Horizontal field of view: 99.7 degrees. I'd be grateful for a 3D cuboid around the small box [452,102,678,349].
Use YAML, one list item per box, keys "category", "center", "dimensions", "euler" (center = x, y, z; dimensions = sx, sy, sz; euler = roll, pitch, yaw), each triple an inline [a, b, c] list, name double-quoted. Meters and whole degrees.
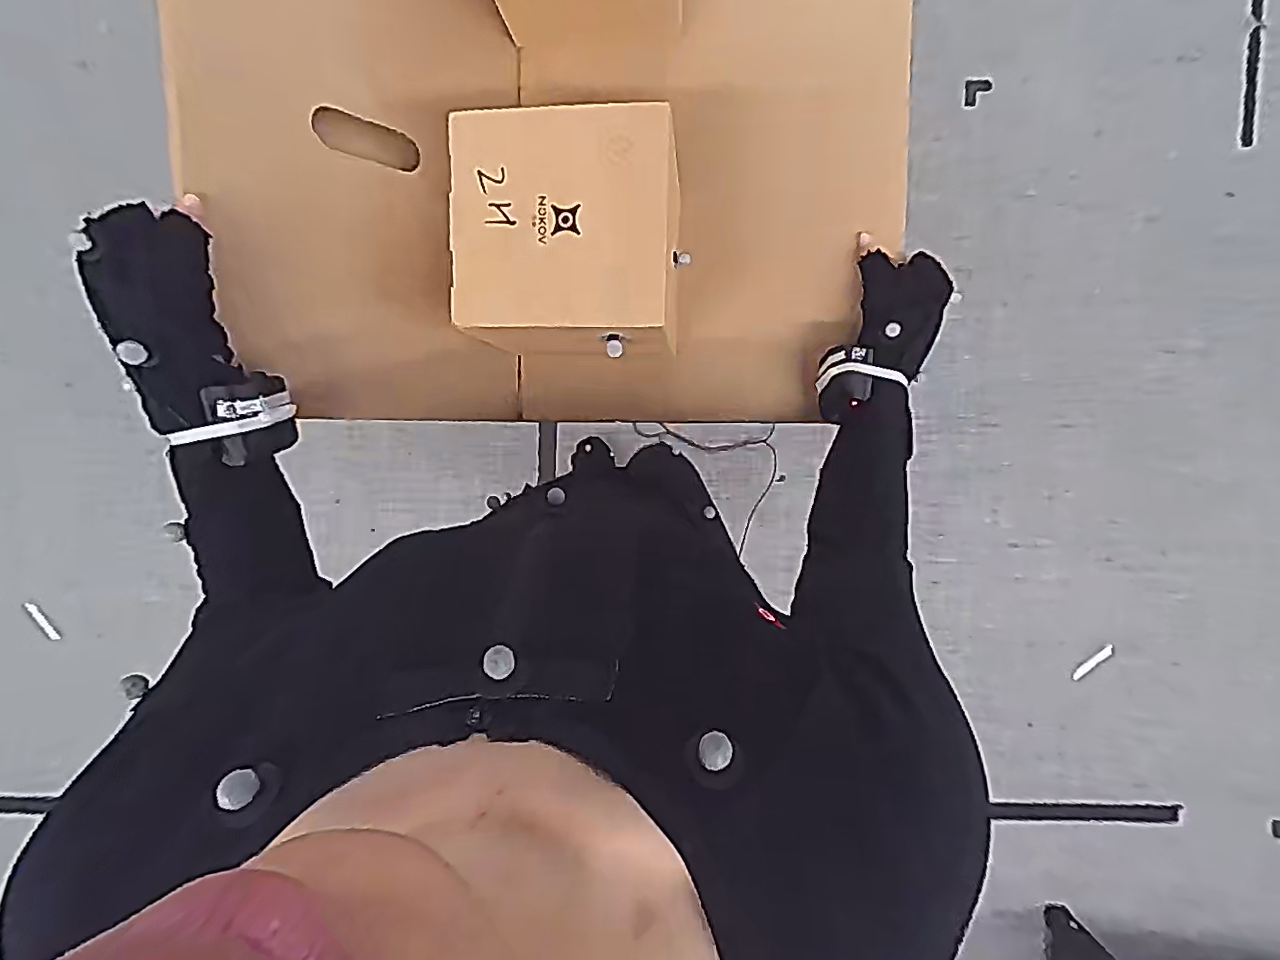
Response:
- category: "small box"
  center: [-0.057, -0.220, 0.508]
  dimensions: [0.179, 0.176, 0.168]
  euler: [3, 95, 7]
